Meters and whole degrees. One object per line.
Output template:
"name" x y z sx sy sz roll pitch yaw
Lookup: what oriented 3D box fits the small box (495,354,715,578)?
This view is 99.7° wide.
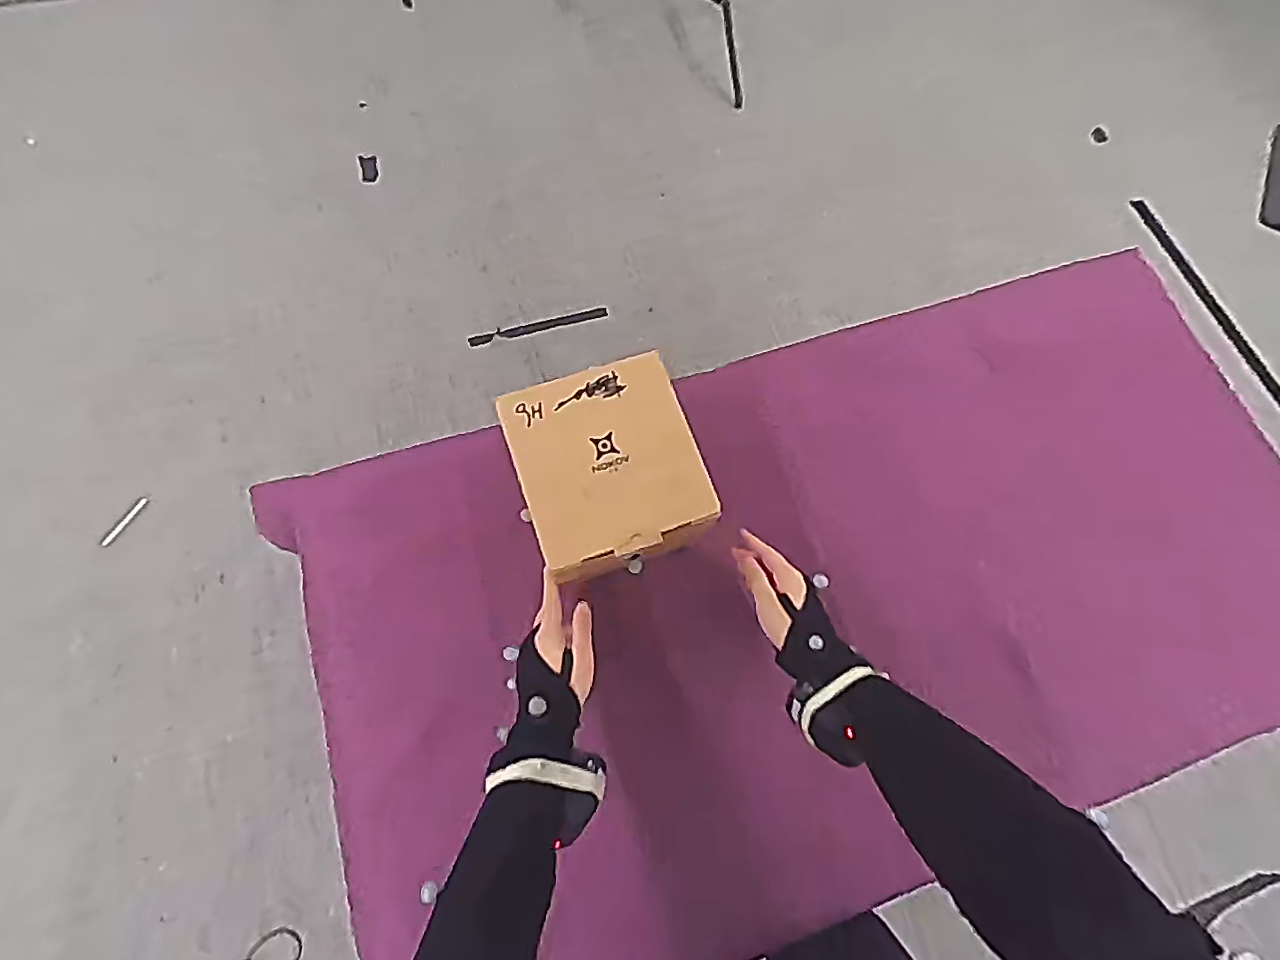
"small box" -0.037 -0.001 0.576 0.168 0.176 0.179 -18 77 -8
